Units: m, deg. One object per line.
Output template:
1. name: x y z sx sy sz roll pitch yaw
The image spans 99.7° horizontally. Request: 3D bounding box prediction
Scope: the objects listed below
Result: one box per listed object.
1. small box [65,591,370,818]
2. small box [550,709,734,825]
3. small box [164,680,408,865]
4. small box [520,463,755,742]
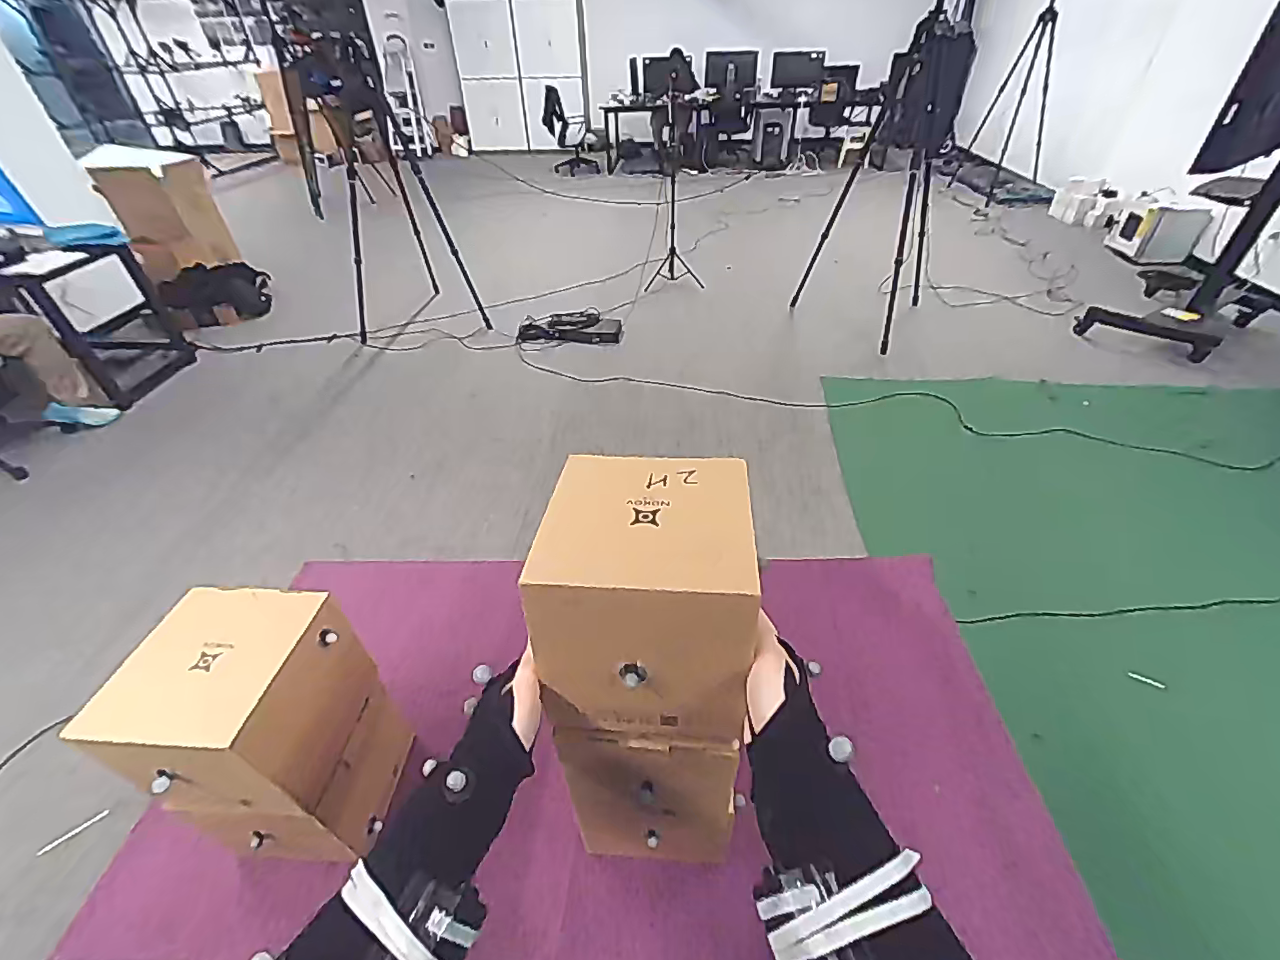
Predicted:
1. small box: -0.430 0.246 0.595 0.168 0.176 0.179 2 39 4
2. small box: 0.015 0.241 0.580 0.168 0.176 0.179 4 41 7
3. small box: -0.429 0.373 0.696 0.179 0.176 0.168 0 39 3
4. small box: 0.009 0.102 0.476 0.168 0.176 0.179 3 33 6
